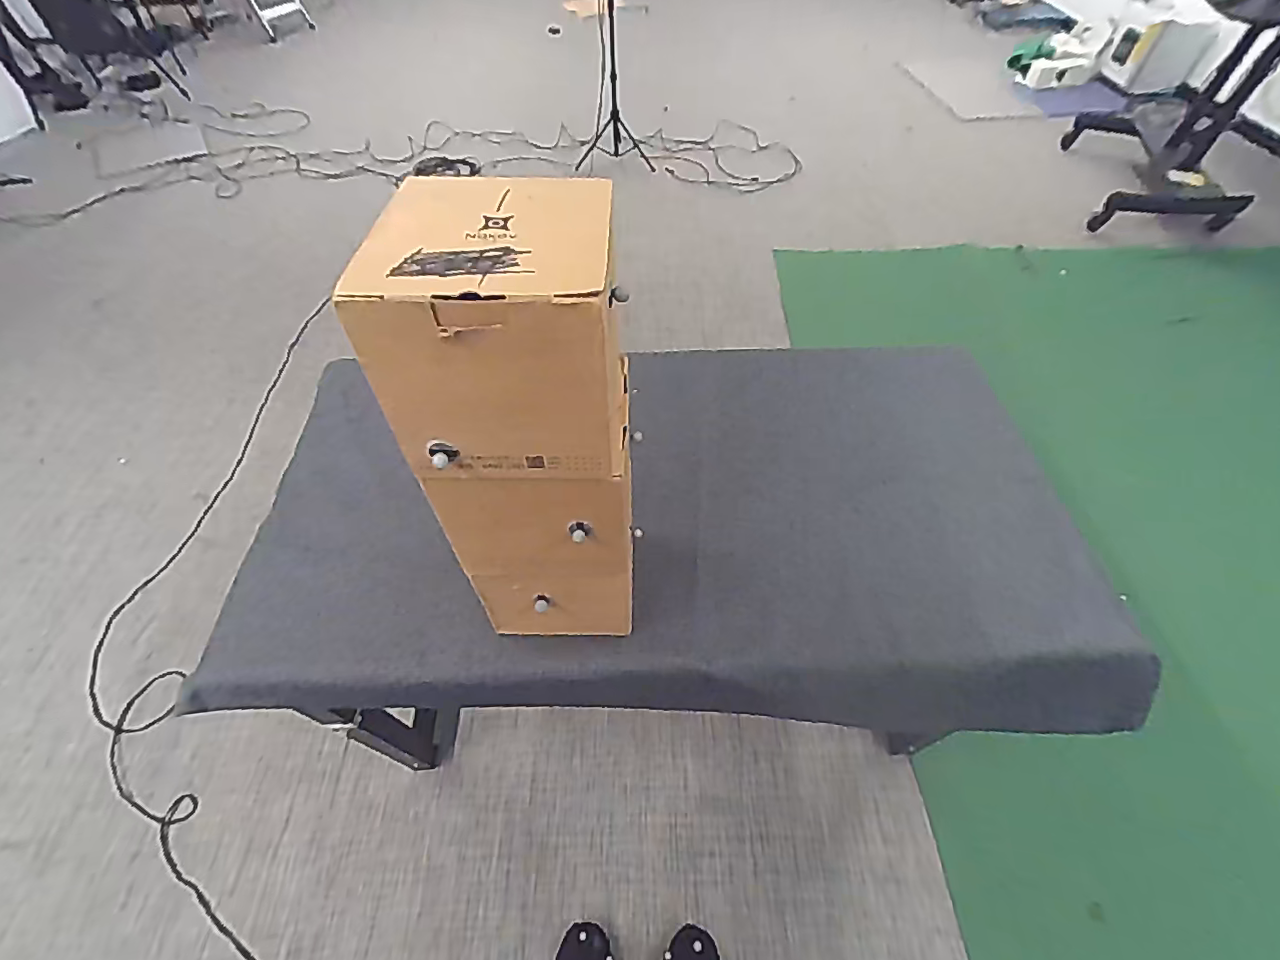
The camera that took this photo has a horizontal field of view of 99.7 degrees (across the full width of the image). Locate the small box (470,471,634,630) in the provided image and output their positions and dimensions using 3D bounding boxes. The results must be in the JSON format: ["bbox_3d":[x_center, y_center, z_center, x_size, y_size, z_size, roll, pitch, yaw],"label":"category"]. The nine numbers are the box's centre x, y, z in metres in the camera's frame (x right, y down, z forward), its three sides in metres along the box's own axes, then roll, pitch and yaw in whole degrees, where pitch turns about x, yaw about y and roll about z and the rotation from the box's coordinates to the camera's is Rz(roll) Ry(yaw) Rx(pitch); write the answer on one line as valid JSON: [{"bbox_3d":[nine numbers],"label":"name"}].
[{"bbox_3d":[-0.099,0.085,0.702,0.179,0.176,0.168,0,52,1],"label":"small box"}]

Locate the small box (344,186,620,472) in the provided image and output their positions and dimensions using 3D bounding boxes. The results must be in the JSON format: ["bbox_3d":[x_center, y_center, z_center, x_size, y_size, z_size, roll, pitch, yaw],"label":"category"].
[{"bbox_3d":[-0.103,-0.121,0.449,0.168,0.176,0.179,1,49,0],"label":"small box"}]

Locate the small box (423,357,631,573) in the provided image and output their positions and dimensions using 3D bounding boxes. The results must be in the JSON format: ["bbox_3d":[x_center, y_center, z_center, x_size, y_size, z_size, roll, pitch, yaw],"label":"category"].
[{"bbox_3d":[-0.099,-0.013,0.573,0.179,0.176,0.168,-1,50,1],"label":"small box"}]
